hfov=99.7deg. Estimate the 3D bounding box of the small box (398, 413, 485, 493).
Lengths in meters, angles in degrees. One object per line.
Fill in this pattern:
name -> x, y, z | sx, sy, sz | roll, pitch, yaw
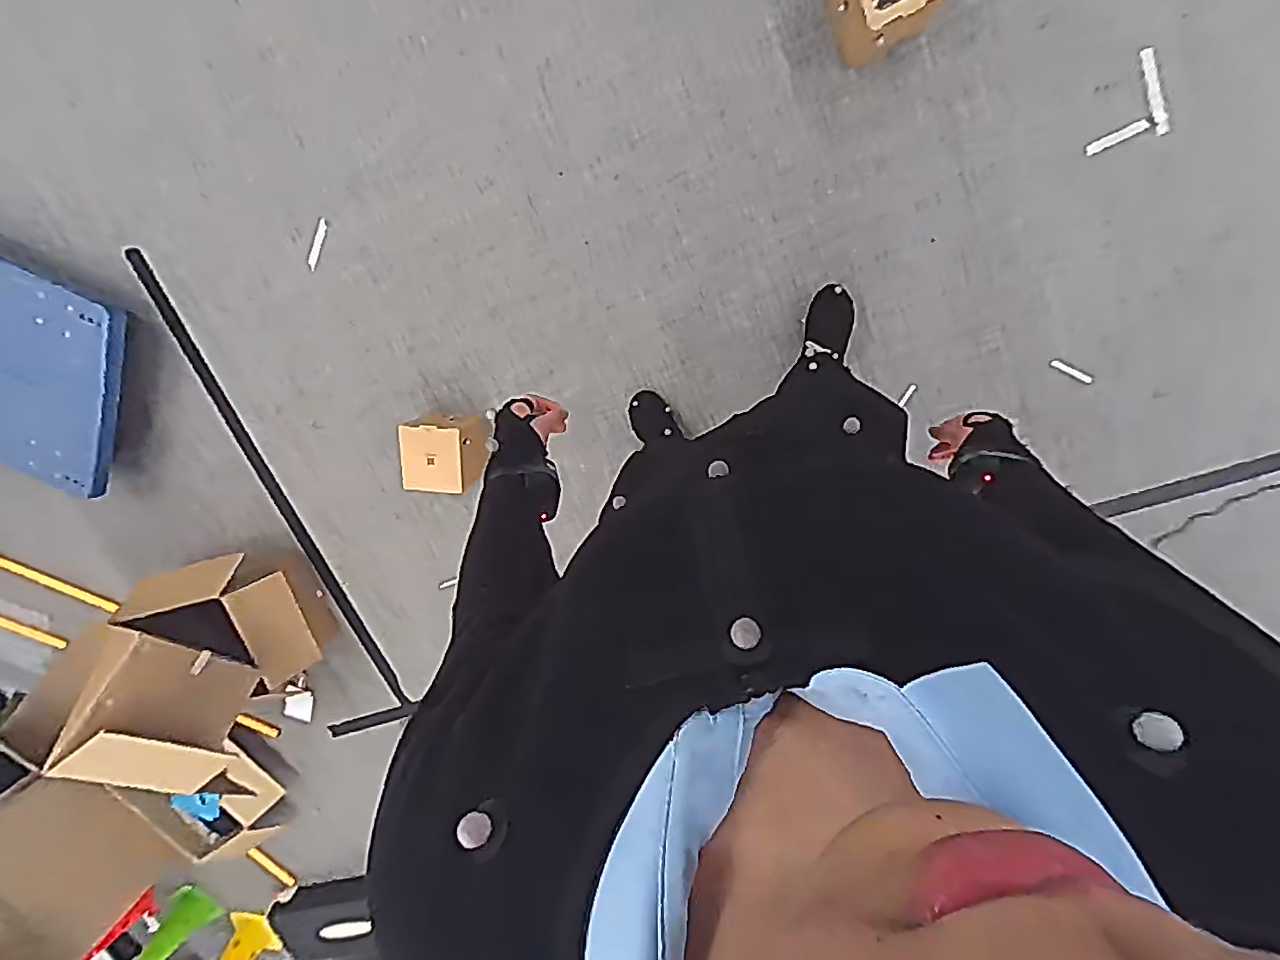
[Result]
small box -> -0.533, -0.078, 1.478 | 0.168, 0.176, 0.179 | 4, 107, 6
